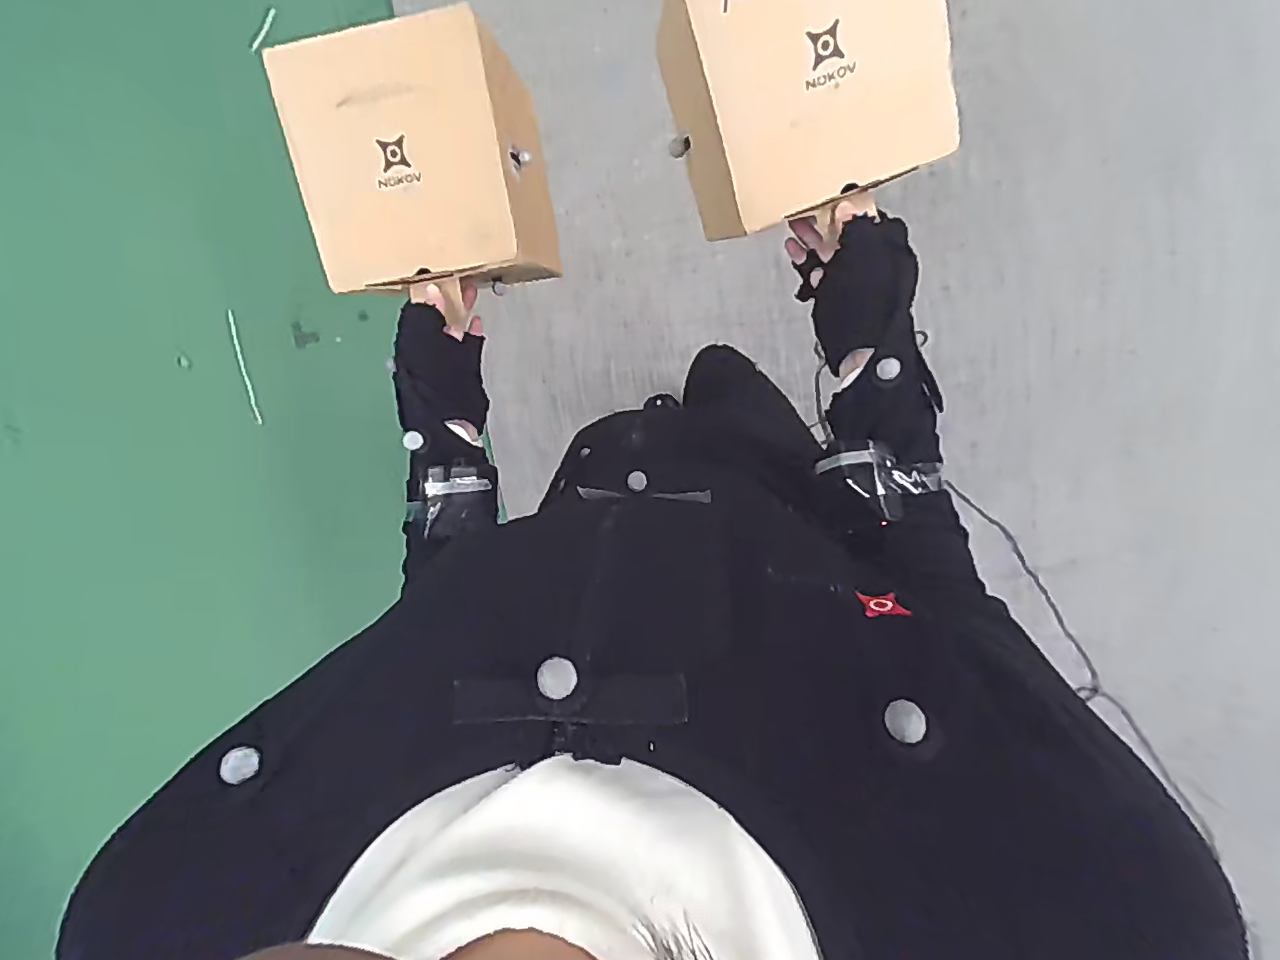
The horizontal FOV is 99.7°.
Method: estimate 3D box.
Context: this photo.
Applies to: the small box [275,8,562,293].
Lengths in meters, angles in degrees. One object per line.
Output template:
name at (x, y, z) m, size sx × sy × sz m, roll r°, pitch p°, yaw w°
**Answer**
small box at (-0.181, -0.276, 0.504) m, size 0.168 × 0.176 × 0.179 m, roll -7°, pitch 105°, yaw 8°
